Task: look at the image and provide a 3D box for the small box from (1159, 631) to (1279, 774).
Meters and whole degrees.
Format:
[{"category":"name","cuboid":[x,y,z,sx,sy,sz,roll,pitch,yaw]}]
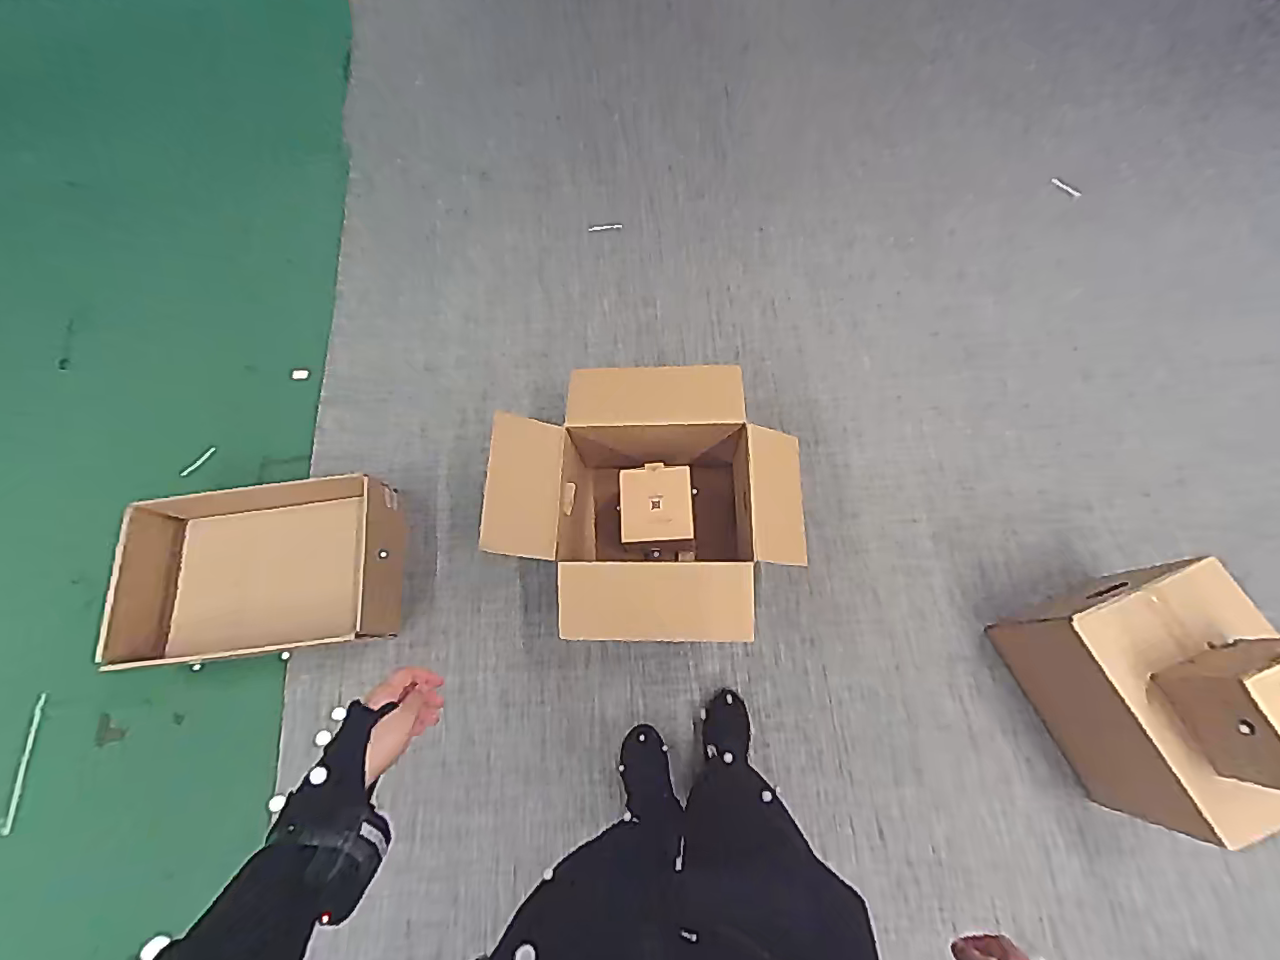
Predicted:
[{"category":"small box","cuboid":[1.005,0.350,0.858,0.168,0.176,0.179,-23,72,-1]}]
